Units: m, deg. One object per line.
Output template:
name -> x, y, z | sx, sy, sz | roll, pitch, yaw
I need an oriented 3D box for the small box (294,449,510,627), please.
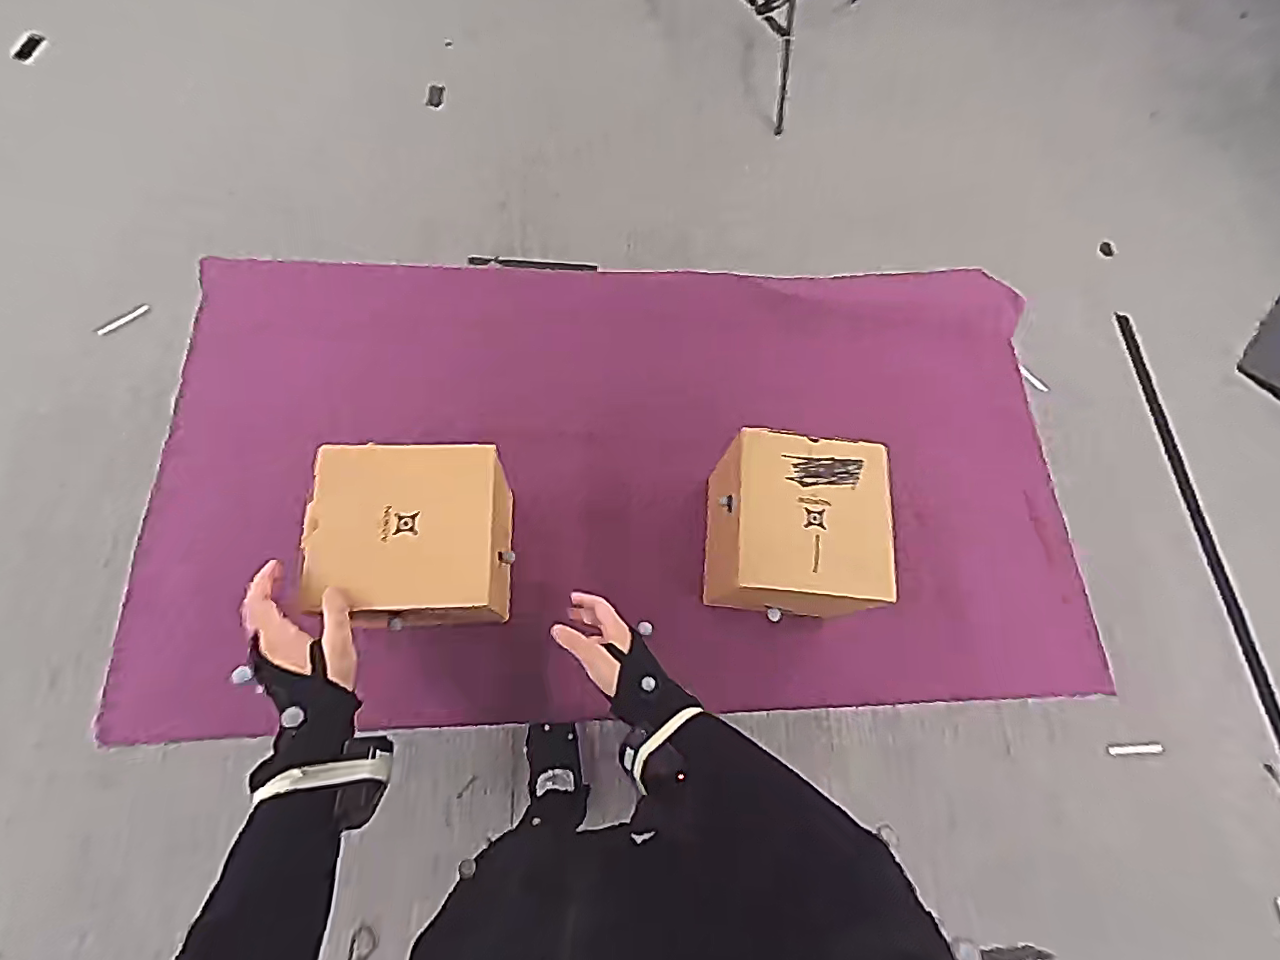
small box -> -0.242, 0.072, 0.603 | 0.179, 0.176, 0.168 | -1, 71, -6

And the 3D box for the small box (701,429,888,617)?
small box -> 0.171, 0.060, 0.648 | 0.168, 0.176, 0.179 | 6, 71, -3
